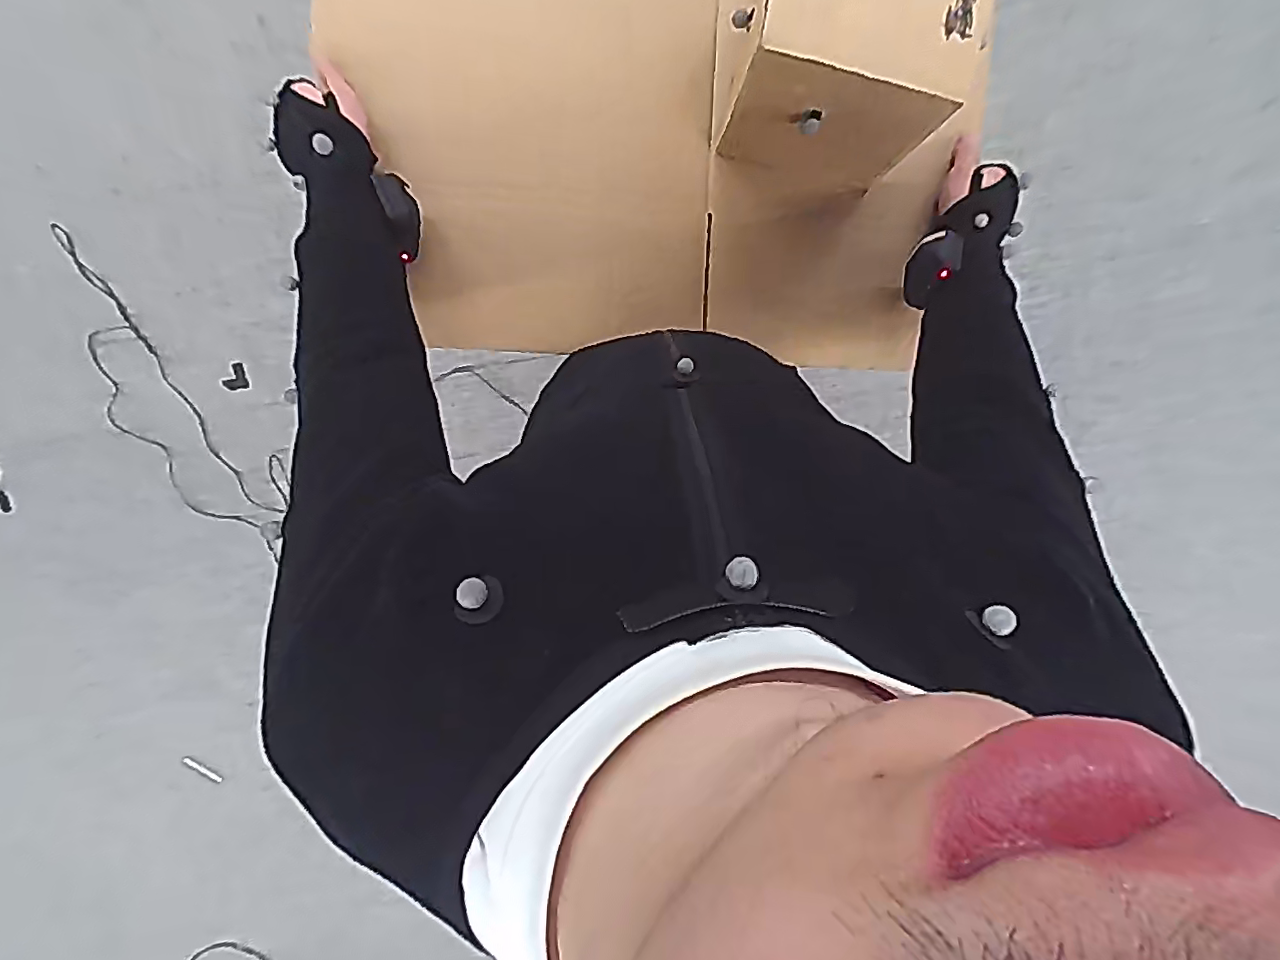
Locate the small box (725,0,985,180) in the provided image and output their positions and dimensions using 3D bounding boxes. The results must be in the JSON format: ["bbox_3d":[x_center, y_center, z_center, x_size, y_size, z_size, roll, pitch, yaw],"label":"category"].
[{"bbox_3d":[0.189,-0.411,0.505,0.179,0.176,0.168,12,96,-3],"label":"small box"}]
